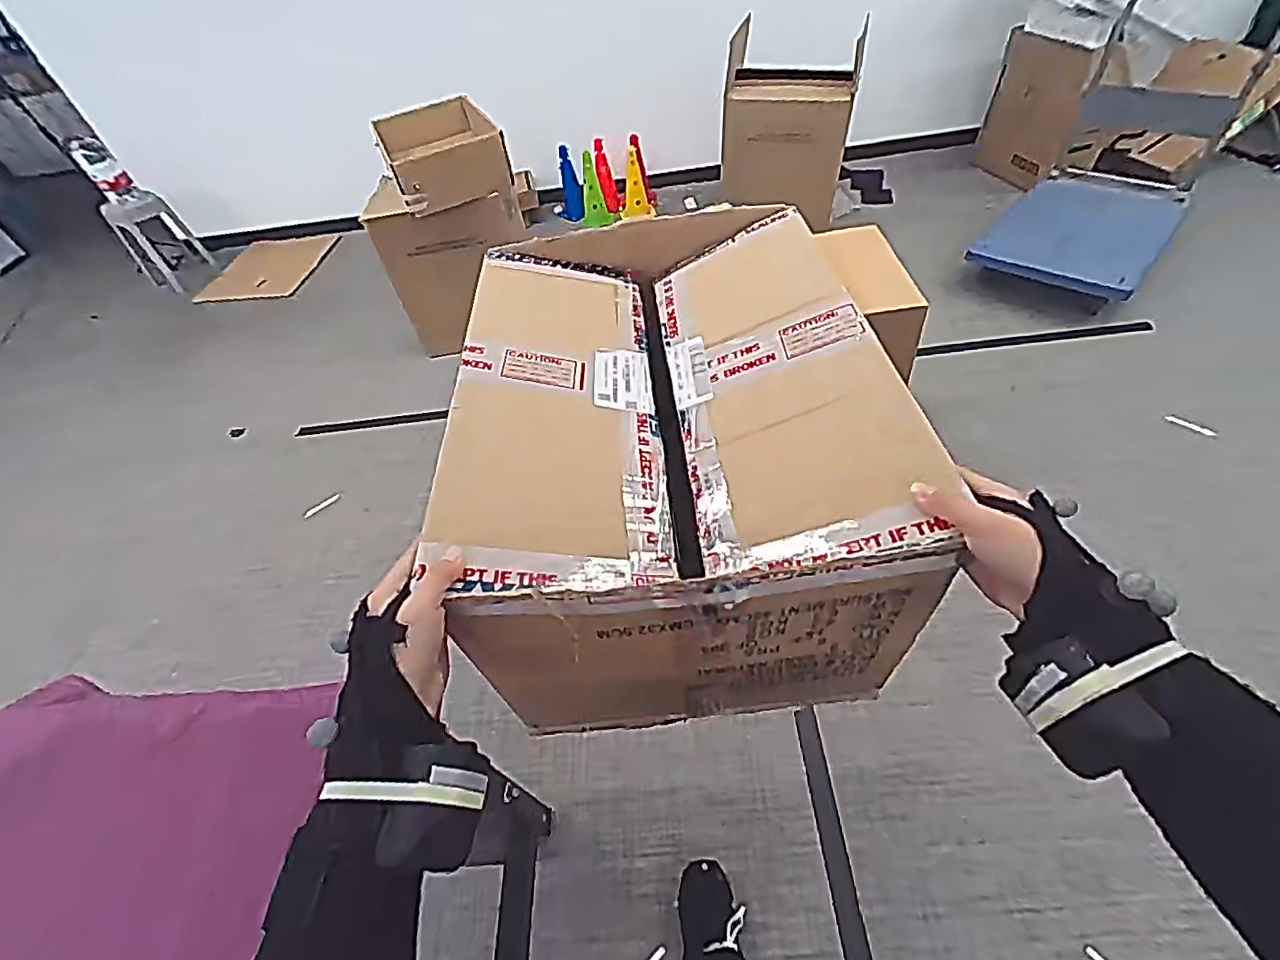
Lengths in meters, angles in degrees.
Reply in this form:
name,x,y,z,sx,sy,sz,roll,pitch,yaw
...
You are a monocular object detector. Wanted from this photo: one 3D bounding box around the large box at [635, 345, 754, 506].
name,x,y,z,sx,sy,sz,roll,pitch,yaw
large box,0.167,-0.177,1.749,0.320,0.320,0.408,-8,50,3
